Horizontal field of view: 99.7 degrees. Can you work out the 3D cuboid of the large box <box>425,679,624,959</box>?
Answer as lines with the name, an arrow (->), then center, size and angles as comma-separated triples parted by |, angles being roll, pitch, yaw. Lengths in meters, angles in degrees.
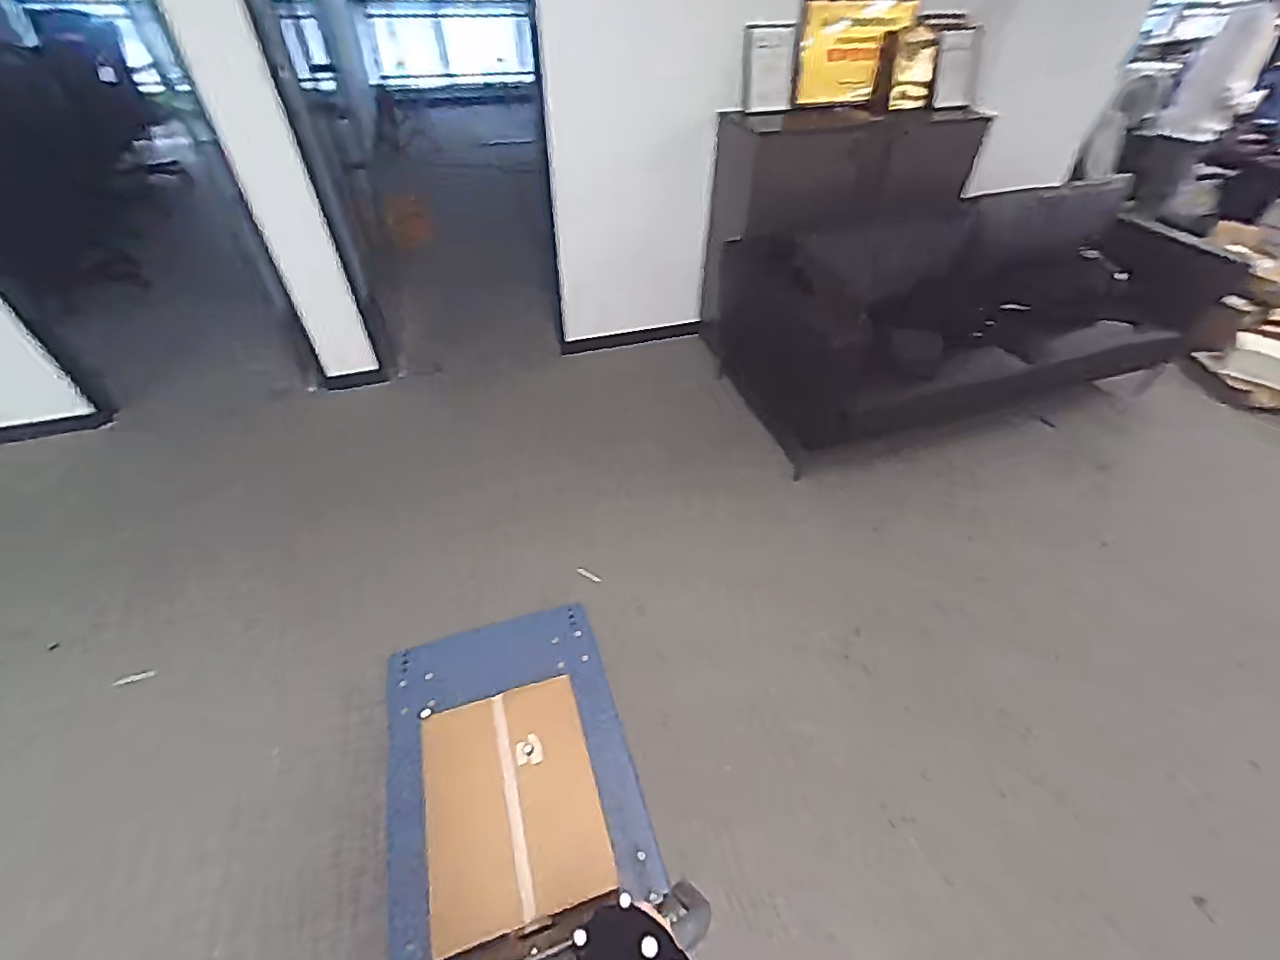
large box -> -0.238, 0.707, 1.122 | 0.320, 0.320, 0.408 | -12, 45, -14
